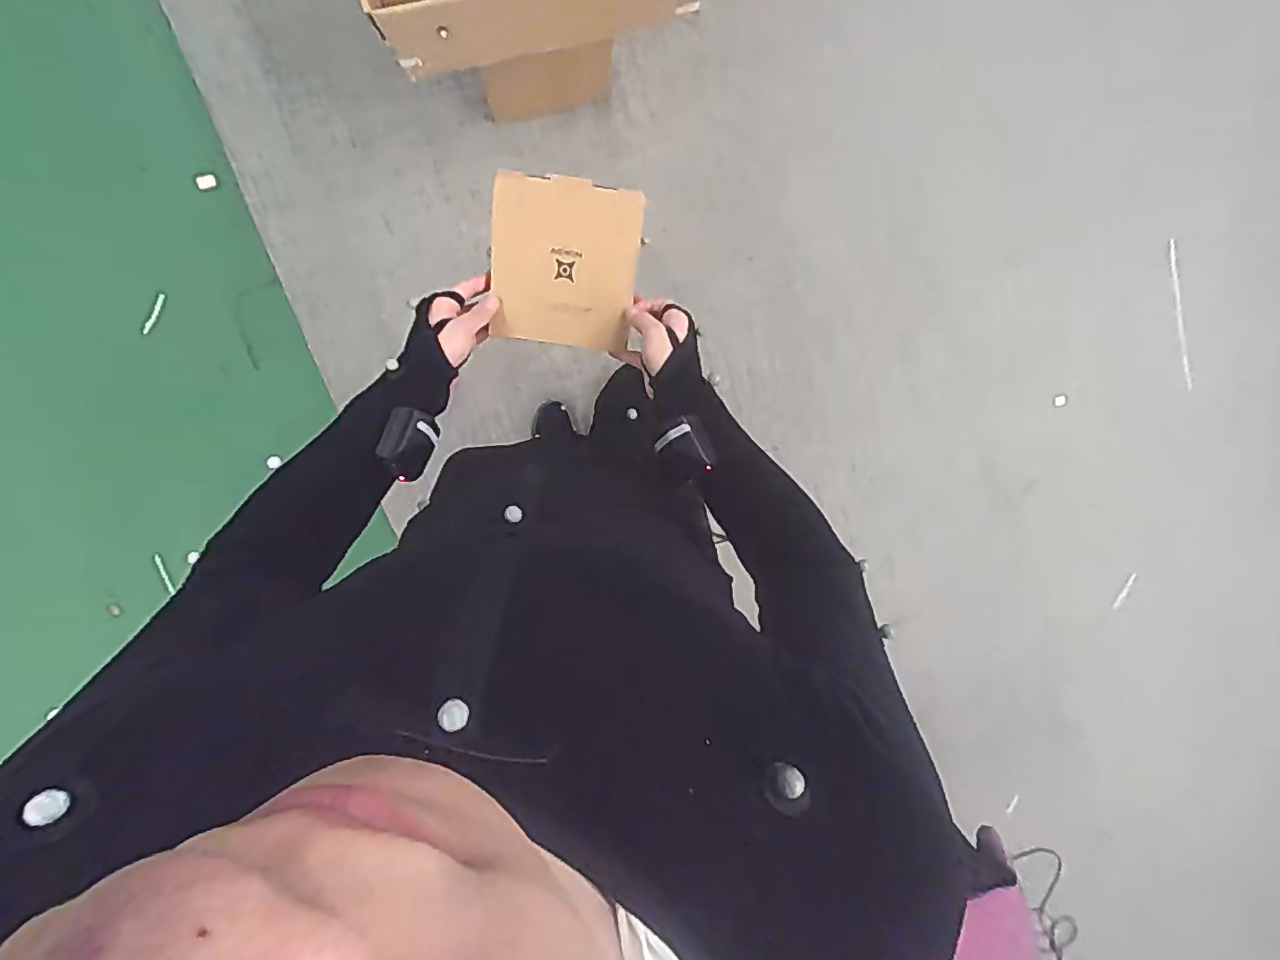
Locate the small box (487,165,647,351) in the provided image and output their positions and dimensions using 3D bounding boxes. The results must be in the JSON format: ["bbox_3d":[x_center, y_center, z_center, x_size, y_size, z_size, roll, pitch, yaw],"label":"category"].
[{"bbox_3d":[-0.090,-0.273,0.685,0.168,0.176,0.179,7,111,-5],"label":"small box"}]
